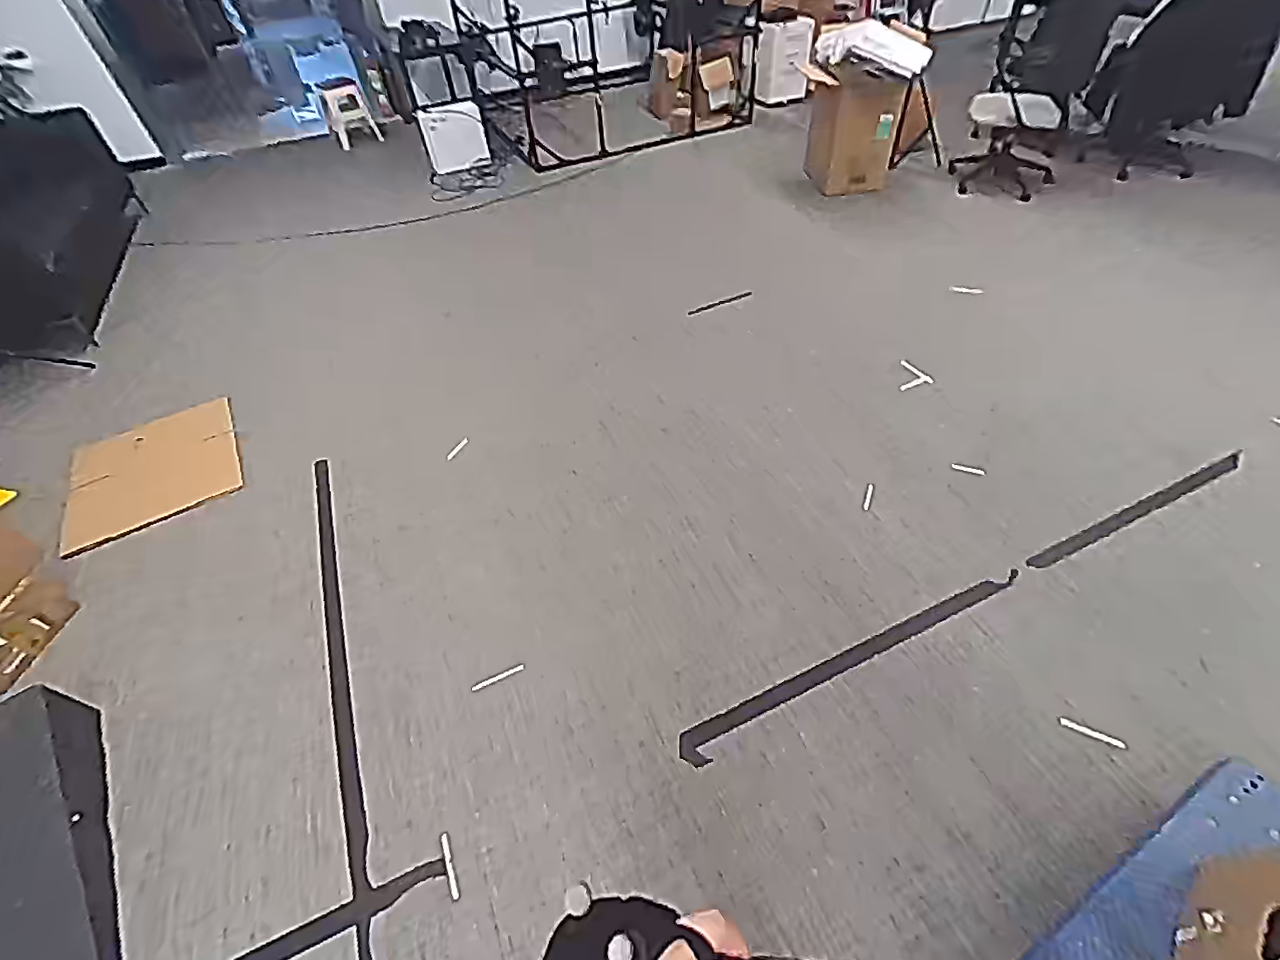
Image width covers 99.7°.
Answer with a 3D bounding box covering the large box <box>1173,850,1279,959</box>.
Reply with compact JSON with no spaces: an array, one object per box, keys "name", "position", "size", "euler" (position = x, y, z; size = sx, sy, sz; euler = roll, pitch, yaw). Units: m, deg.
[{"name":"large box","position":[1.075,0.807,0.744],"size":[0.408,0.320,0.320],"euler":[35,60,29]}]
